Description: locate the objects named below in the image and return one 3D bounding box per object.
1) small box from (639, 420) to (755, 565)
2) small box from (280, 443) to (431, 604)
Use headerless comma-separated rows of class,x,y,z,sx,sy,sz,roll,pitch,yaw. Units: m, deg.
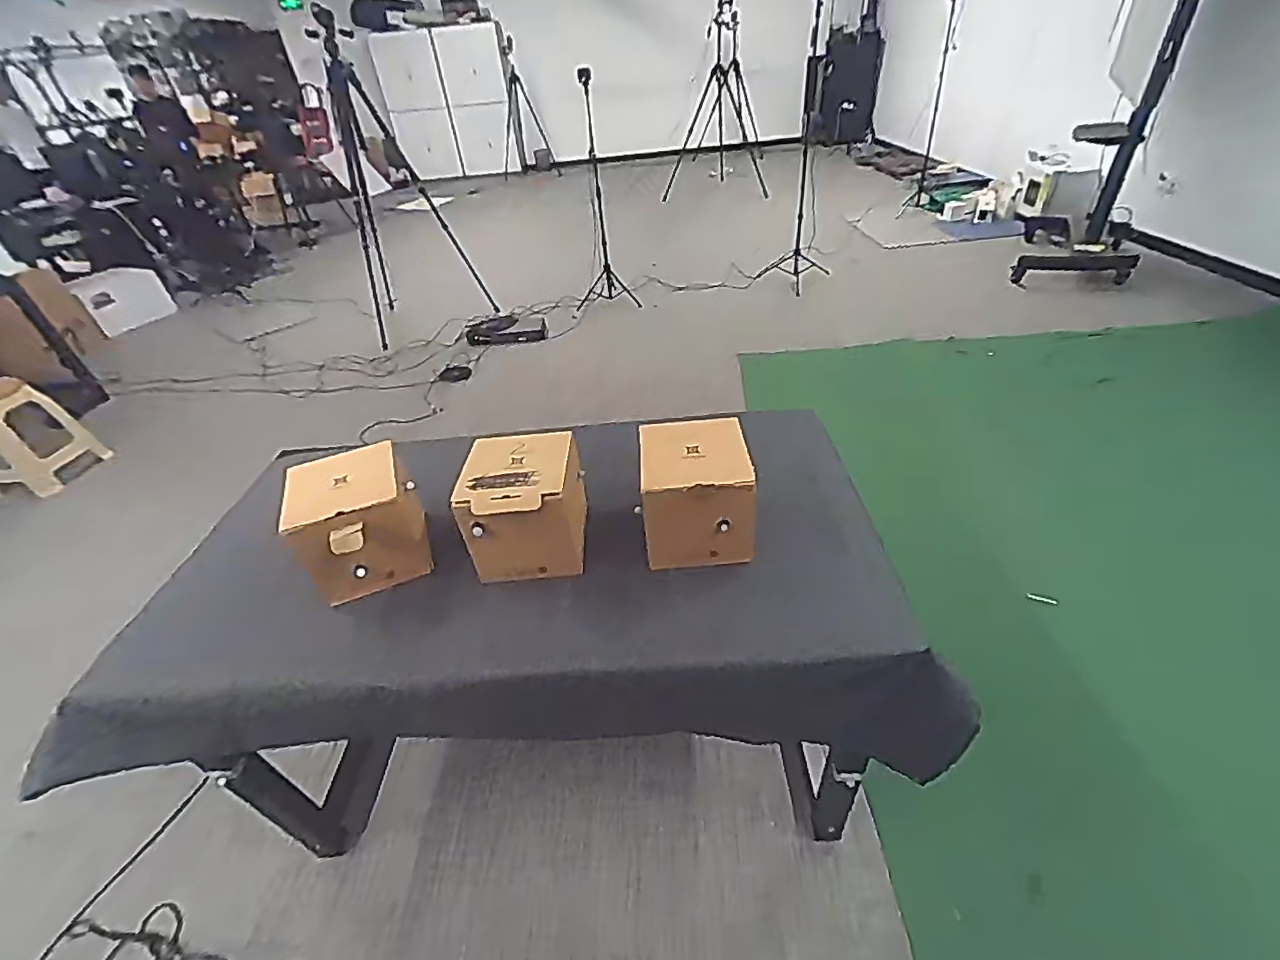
small box,0.087,0.024,0.873,0.168,0.176,0.179,-4,37,1
small box,-0.459,0.069,0.892,0.168,0.176,0.179,-18,40,-16
